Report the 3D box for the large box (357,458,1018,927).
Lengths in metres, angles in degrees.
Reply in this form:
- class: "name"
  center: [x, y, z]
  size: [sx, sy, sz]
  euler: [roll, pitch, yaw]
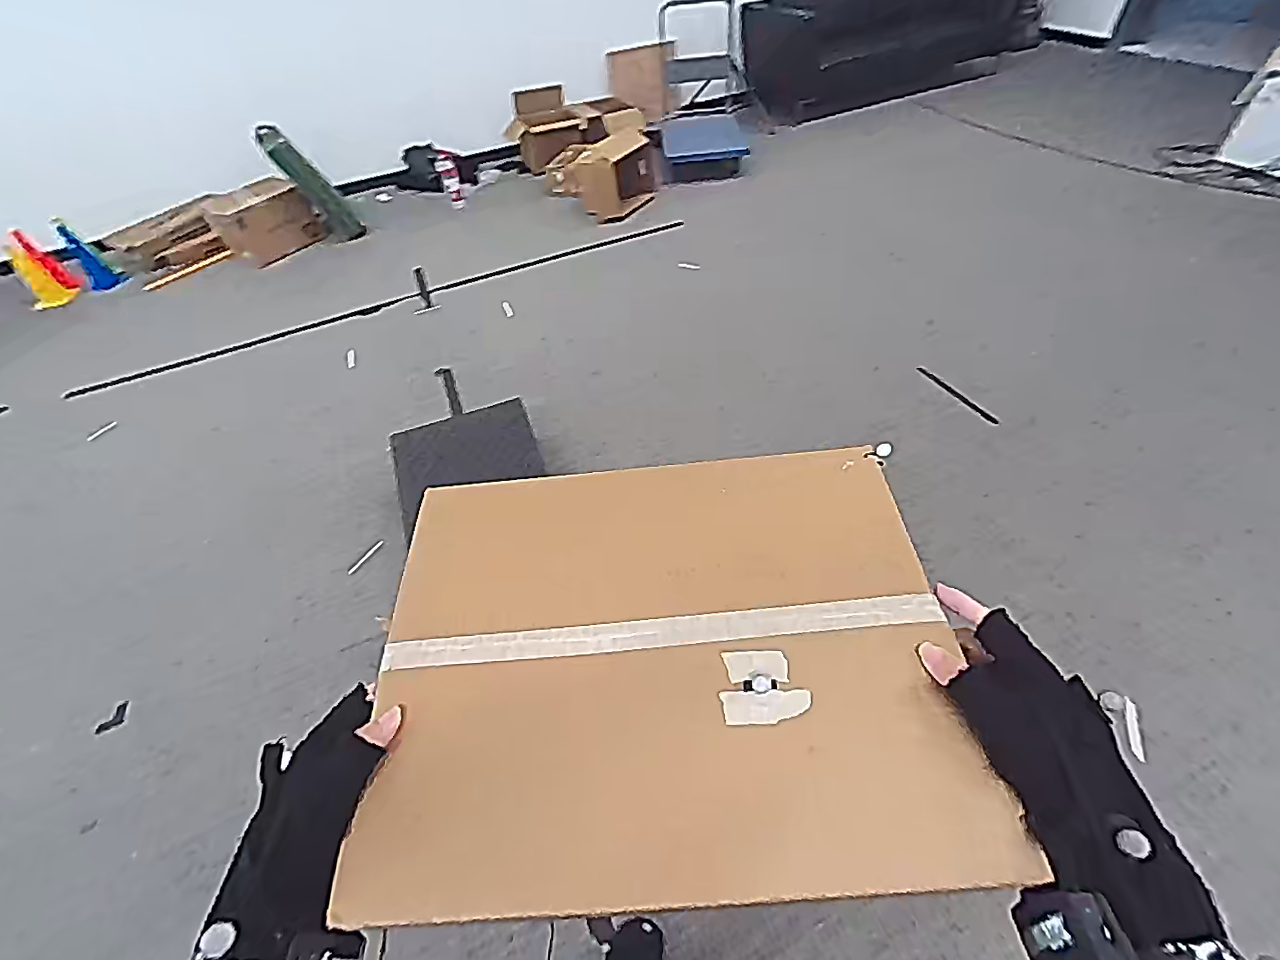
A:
- class: "large box"
  center: [0.026, 0.212, 0.525]
  size: [0.408, 0.320, 0.320]
  euler: [-6, 53, 2]
